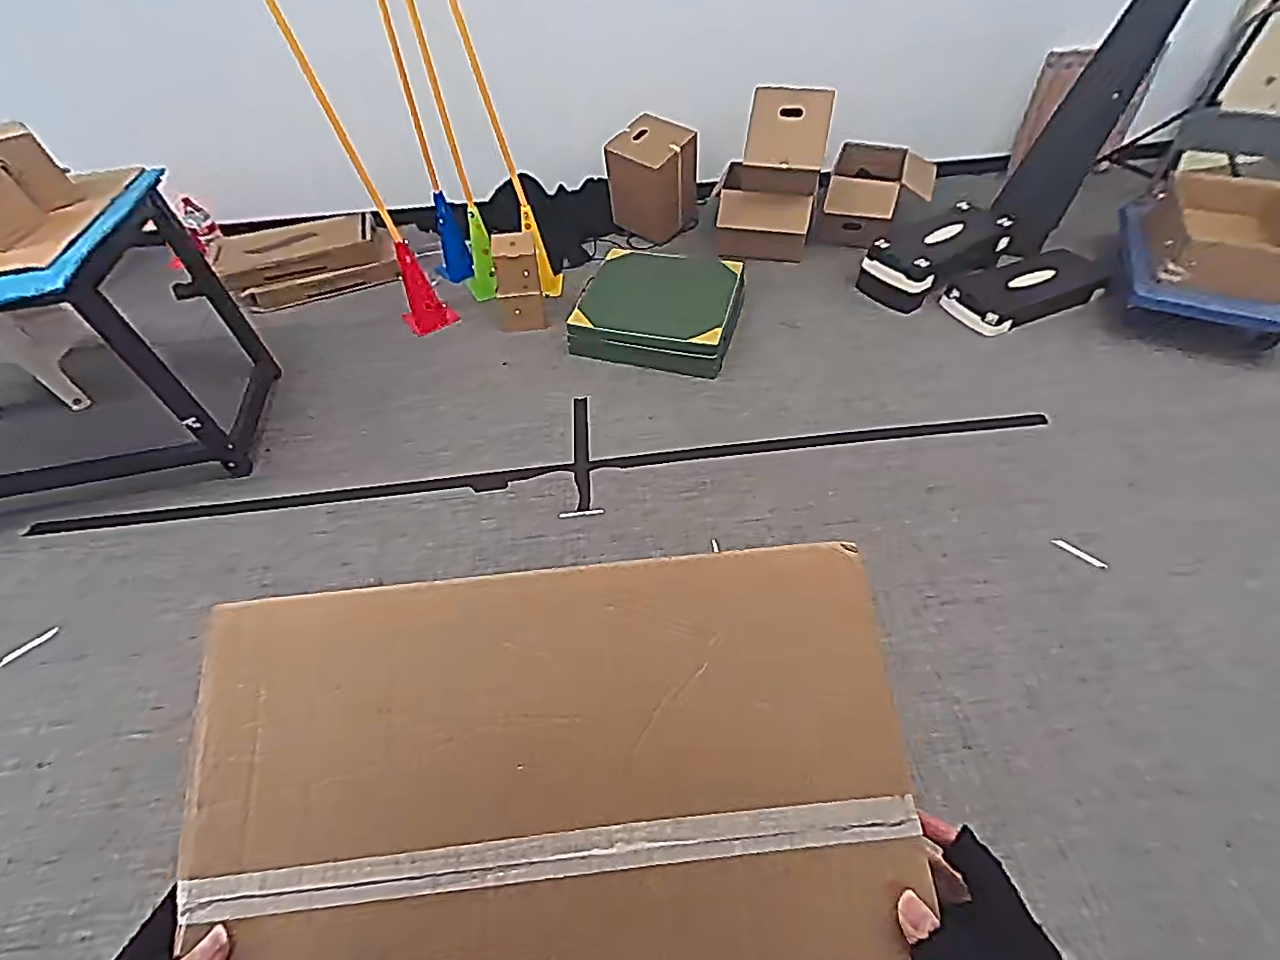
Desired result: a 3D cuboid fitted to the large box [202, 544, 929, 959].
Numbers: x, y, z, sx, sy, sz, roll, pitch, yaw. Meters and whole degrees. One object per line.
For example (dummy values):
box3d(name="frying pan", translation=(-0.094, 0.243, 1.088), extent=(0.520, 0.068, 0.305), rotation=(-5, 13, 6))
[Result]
box3d(name="large box", translation=(-0.046, 0.252, 0.455), extent=(0.408, 0.320, 0.320), rotation=(-6, 74, -1))
